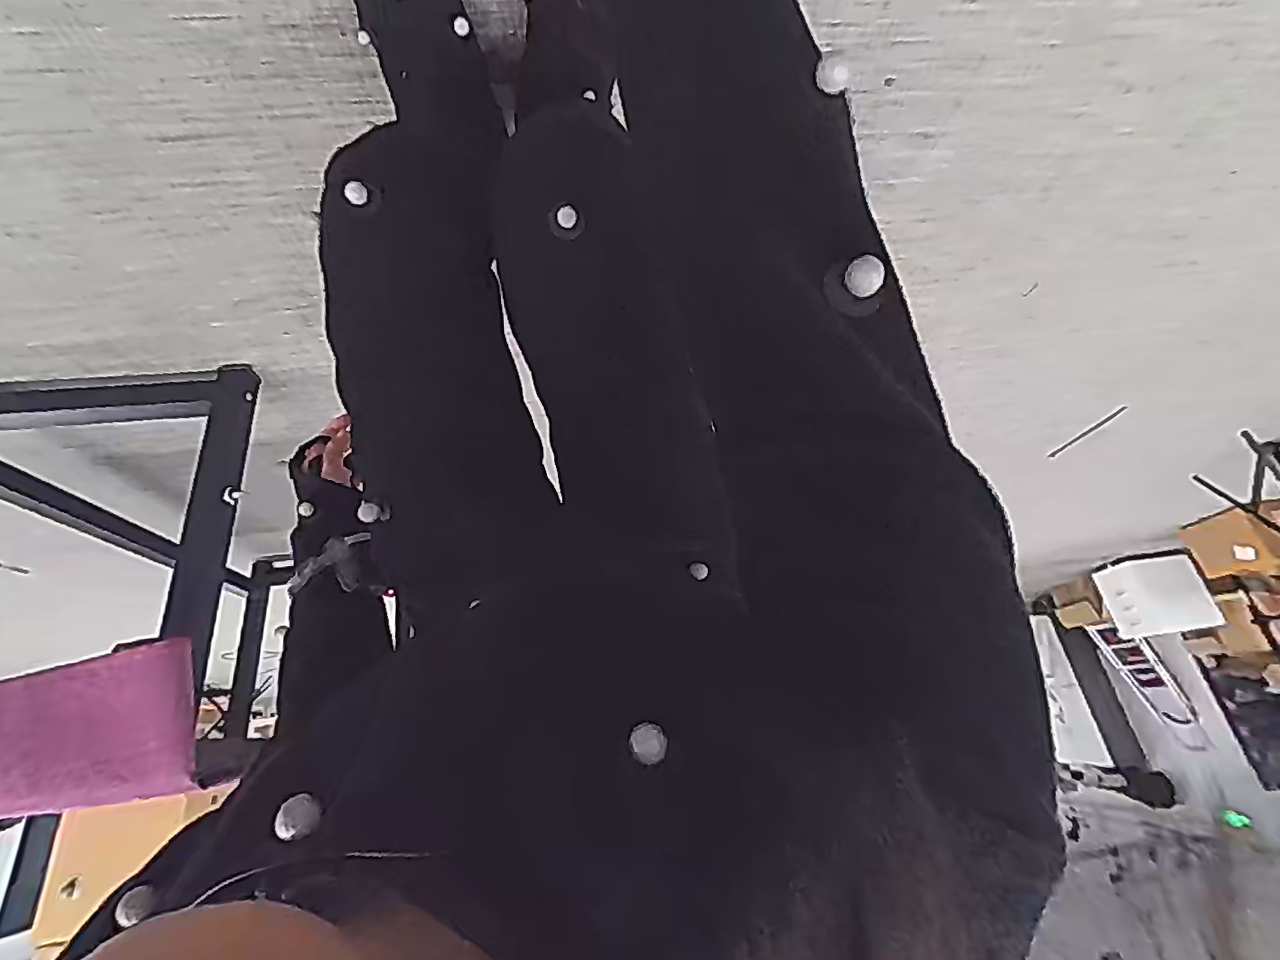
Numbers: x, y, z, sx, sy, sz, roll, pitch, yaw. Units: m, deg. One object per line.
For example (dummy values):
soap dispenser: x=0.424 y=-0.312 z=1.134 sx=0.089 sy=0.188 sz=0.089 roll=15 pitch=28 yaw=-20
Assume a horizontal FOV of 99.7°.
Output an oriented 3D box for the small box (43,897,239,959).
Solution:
small box: x=-0.717 y=0.731 z=0.775 sx=0.168 sy=0.176 sz=0.179 roll=-4 pitch=156 yaw=-9

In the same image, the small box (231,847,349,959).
small box: x=-0.750 y=0.912 z=1.172 sx=0.179 sy=0.176 sz=0.168 roll=-4 pitch=156 yaw=-8
